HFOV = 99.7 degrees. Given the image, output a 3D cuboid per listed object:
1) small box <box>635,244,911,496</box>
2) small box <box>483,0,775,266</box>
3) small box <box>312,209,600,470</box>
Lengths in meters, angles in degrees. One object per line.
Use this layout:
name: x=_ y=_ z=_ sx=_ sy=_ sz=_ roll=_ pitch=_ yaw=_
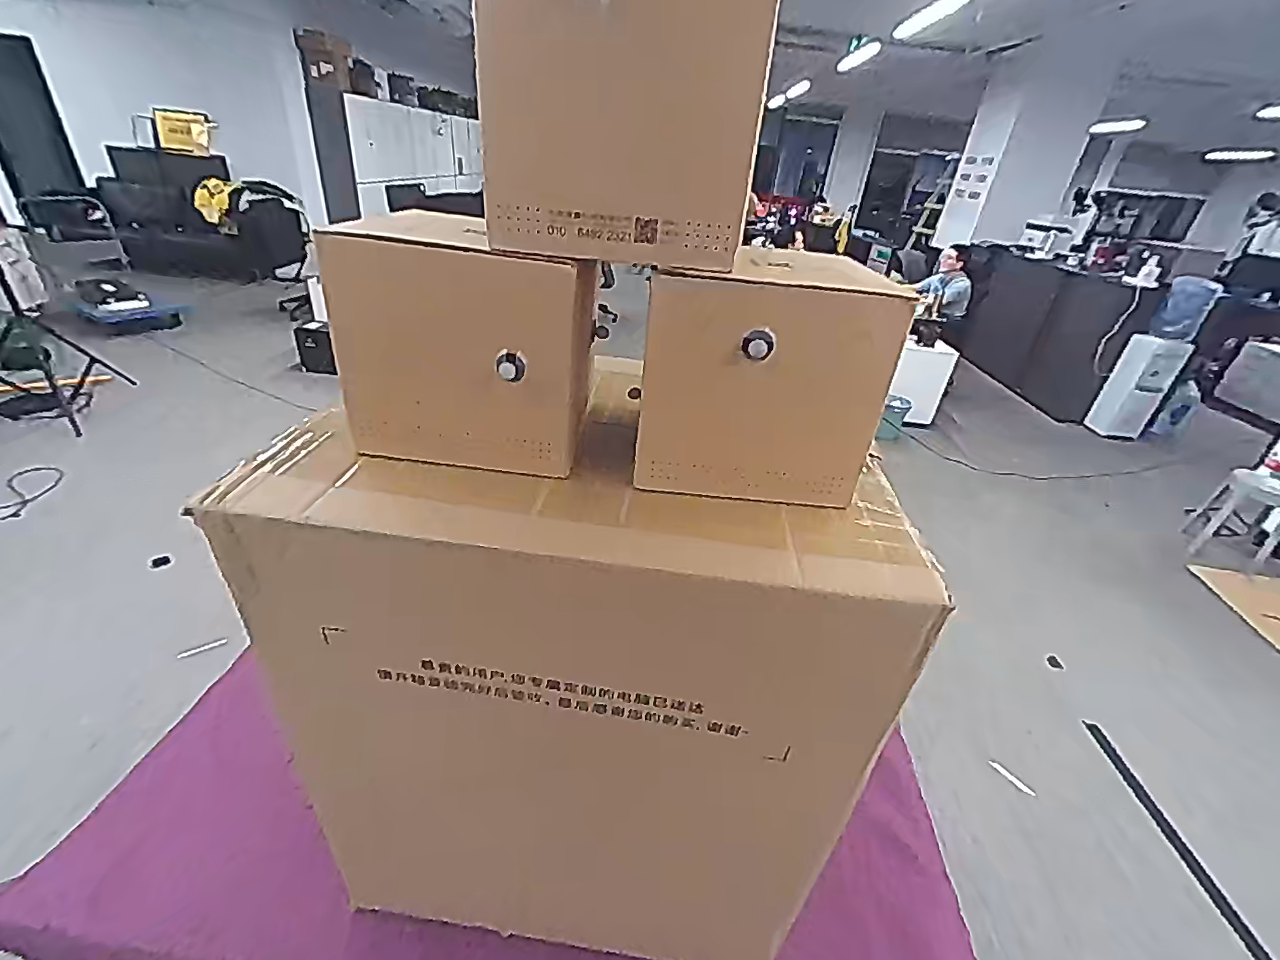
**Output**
small box: x=0.089 y=-0.100 z=0.459 sx=0.179 sy=0.176 sz=0.168 roll=5 pitch=30 yaw=-1
small box: x=-0.009 y=-0.257 z=0.387 sx=0.168 sy=0.176 sz=0.179 roll=5 pitch=29 yaw=1
small box: x=-0.133 y=-0.122 z=0.460 sx=0.179 sy=0.176 sz=0.168 roll=6 pitch=29 yaw=-1
